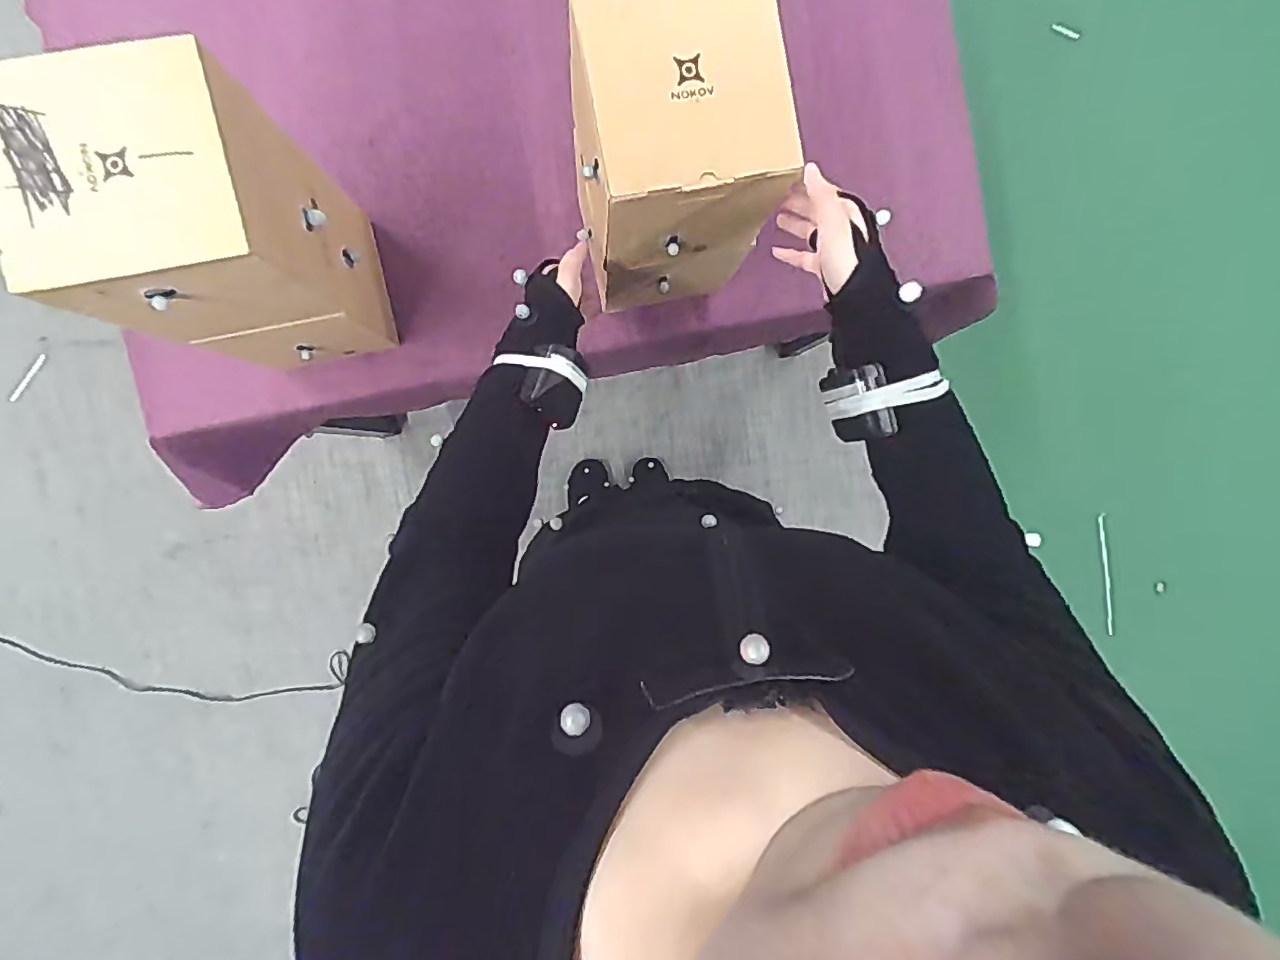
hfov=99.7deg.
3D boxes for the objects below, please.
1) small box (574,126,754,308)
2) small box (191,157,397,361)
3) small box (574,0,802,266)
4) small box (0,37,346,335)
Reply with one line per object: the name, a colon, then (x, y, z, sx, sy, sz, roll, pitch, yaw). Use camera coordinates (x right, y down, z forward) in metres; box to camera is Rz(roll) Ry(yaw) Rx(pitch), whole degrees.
small box: (0.024, -0.329, 0.677, 0.179, 0.176, 0.168, -13, 94, -3)
small box: (-0.414, -0.248, 0.648, 0.168, 0.176, 0.179, -12, 93, -4)
small box: (0.032, -0.329, 0.514, 0.168, 0.176, 0.179, -11, 94, -4)
small box: (-0.403, -0.239, 0.484, 0.179, 0.176, 0.168, -12, 94, -4)
